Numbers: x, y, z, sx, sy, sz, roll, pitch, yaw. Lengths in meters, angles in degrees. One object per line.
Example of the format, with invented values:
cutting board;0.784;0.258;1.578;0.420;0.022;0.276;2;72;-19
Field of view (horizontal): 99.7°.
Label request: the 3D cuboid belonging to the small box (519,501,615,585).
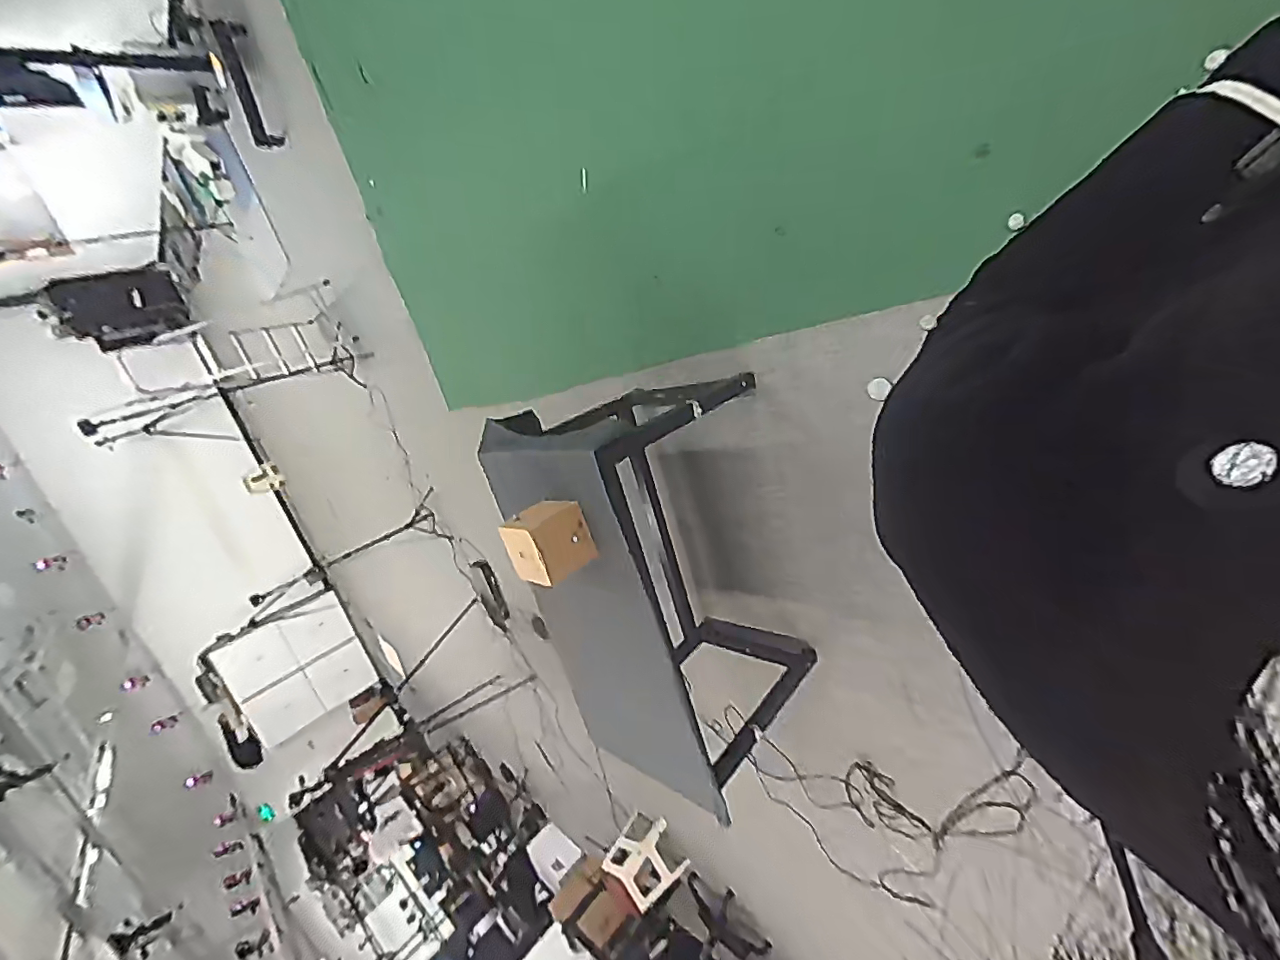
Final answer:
small box;-0.201;0.167;1.497;0.179;0.176;0.168;-1;114;50
